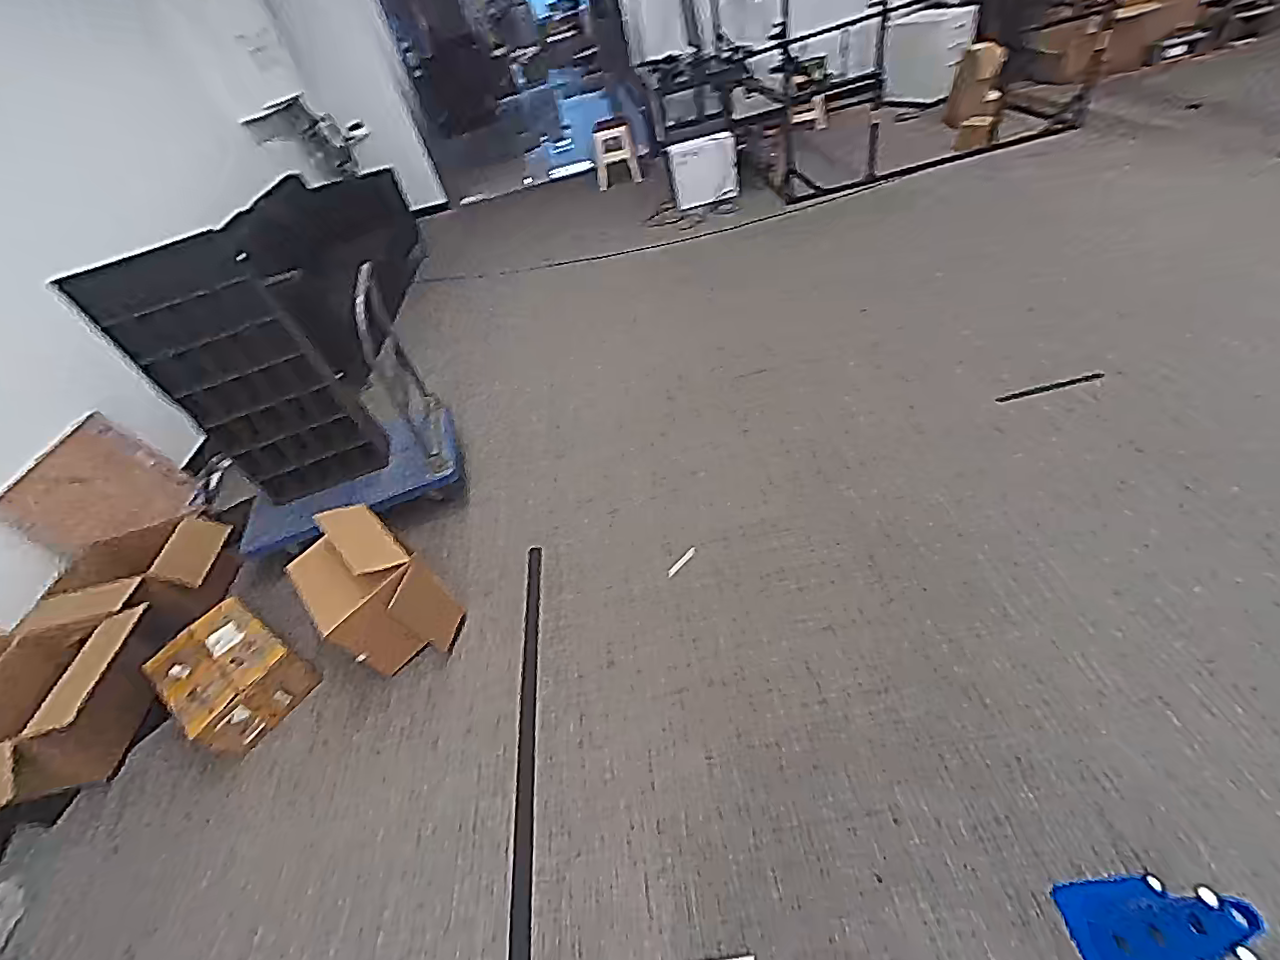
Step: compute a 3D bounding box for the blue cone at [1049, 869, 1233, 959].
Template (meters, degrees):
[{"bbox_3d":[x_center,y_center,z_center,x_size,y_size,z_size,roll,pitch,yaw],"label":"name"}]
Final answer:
[{"bbox_3d":[0.856,0.716,0.879,0.193,0.380,0.192,-10,42,7],"label":"blue cone"}]
